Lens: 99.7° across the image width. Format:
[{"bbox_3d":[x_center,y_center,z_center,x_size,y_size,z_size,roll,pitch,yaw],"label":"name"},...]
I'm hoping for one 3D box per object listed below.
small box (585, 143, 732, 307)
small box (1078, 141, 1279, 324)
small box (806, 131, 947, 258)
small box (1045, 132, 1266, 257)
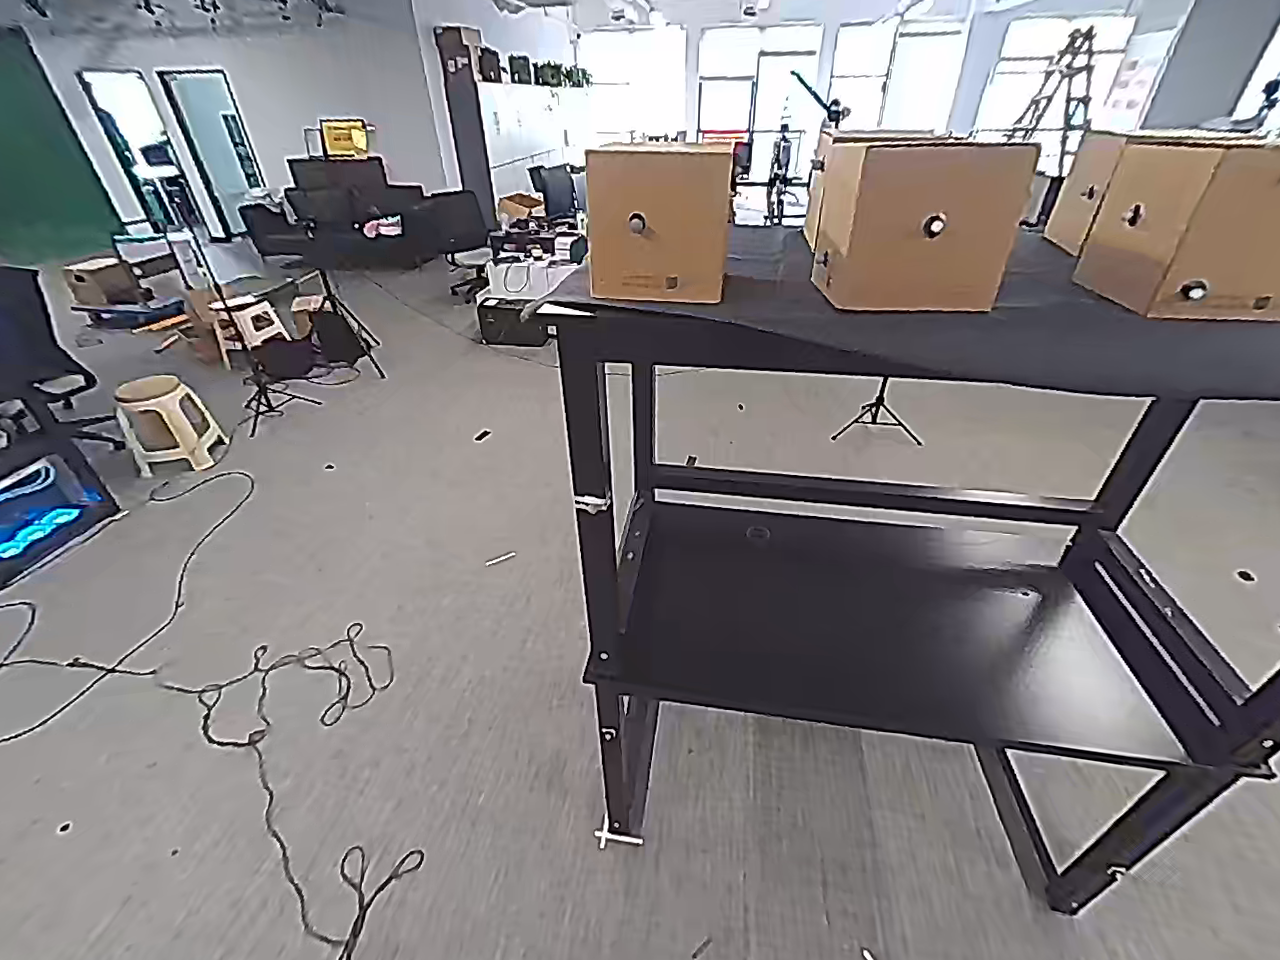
[{"bbox_3d":[0.031,-0.333,0.703,0.168,0.176,0.179,4,35,6],"label":"small box"},{"bbox_3d":[0.660,-0.284,0.618,0.168,0.176,0.179,5,33,9],"label":"small box"},{"bbox_3d":[0.379,-0.477,0.902,0.168,0.176,0.179,5,36,7],"label":"small box"},{"bbox_3d":[0.788,-0.447,0.855,0.168,0.176,0.179,9,36,12],"label":"small box"}]
